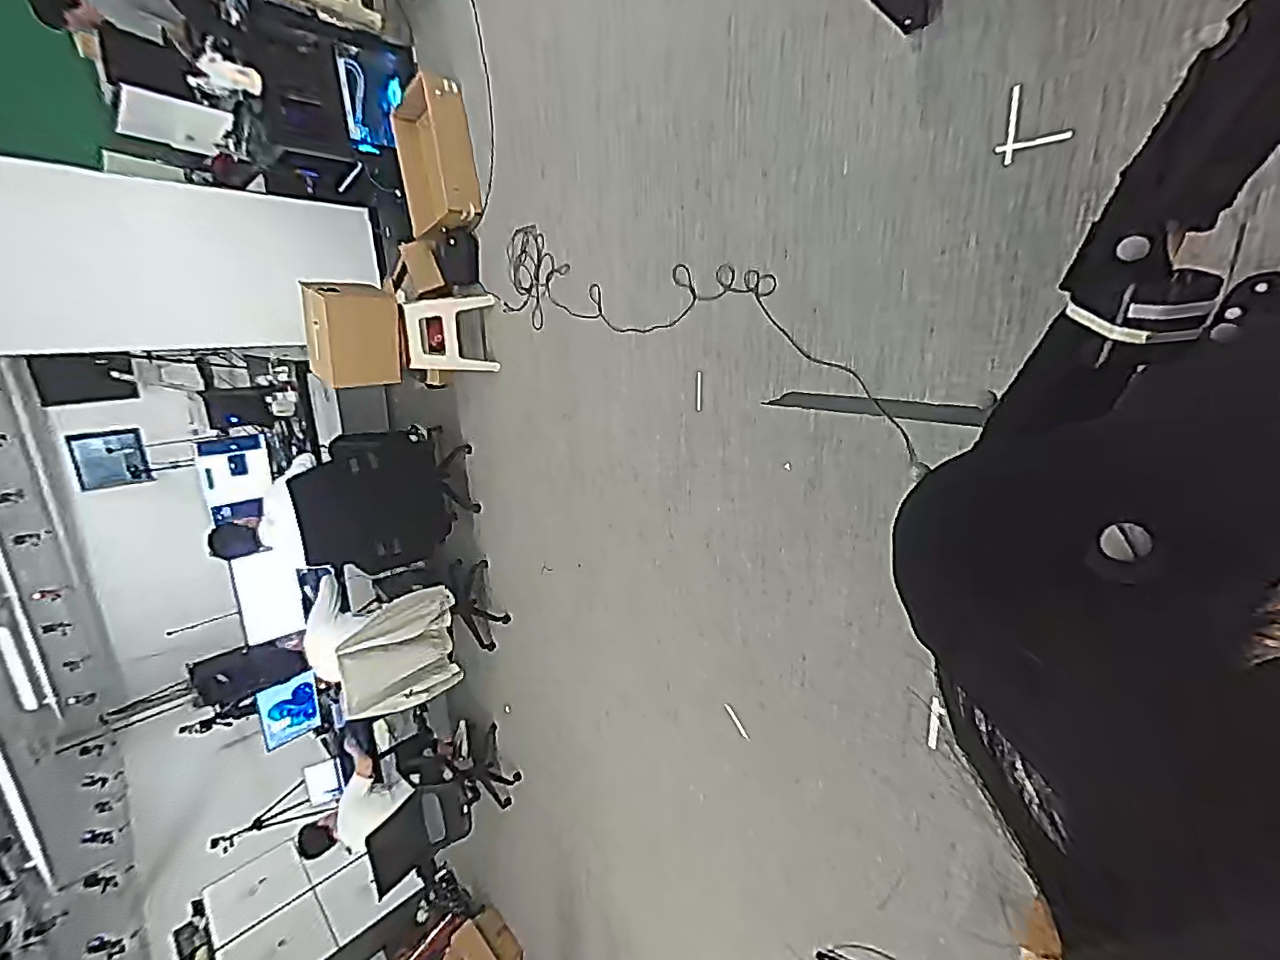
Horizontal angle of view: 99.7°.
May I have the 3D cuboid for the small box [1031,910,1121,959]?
[{"bbox_3d":[1.112,1.269,1.381,0.168,0.176,0.179,4,104,46],"label":"small box"}]
